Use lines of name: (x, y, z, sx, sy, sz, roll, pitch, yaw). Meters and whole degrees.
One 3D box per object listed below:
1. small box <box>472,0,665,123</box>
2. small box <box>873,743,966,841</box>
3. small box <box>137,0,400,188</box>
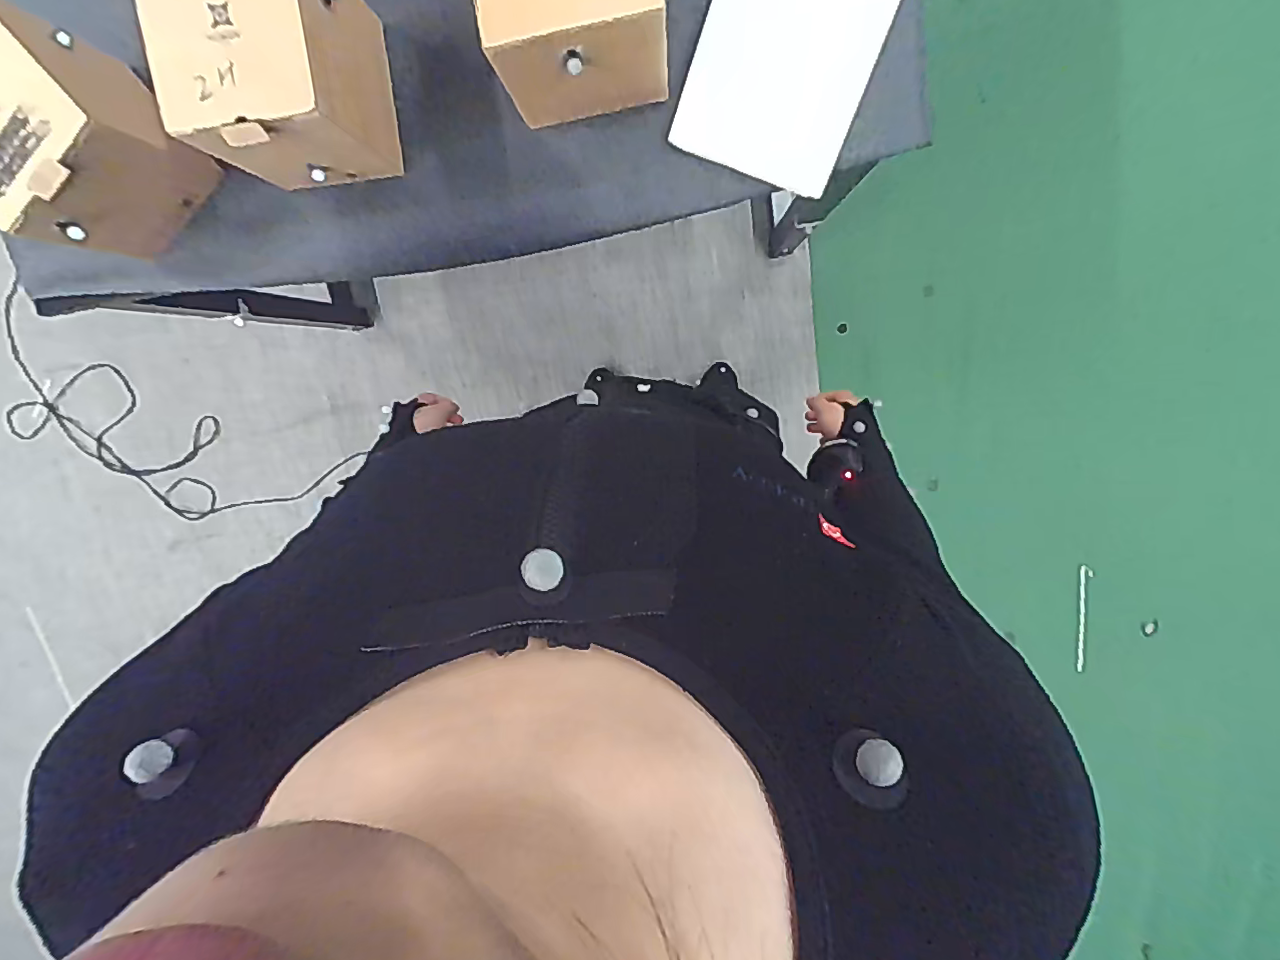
small box: (-0.070, -0.507, 0.559, 0.179, 0.176, 0.168, -8, 100, 7)
small box: (0.760, 0.848, 1.481, 0.179, 0.176, 0.168, -8, 103, 7)
small box: (-0.394, -0.452, 0.597, 0.168, 0.176, 0.179, -4, 101, 6)
